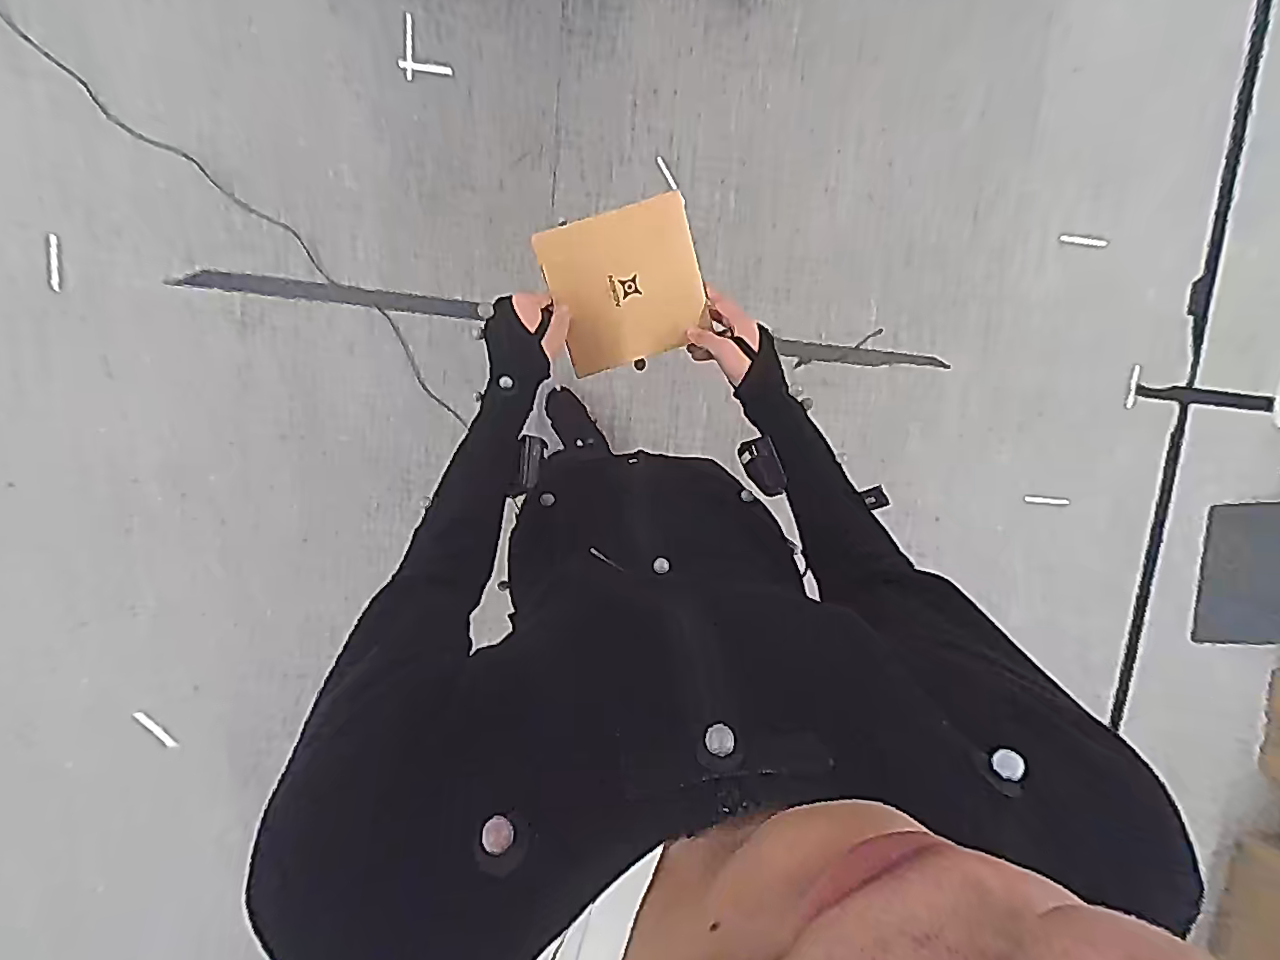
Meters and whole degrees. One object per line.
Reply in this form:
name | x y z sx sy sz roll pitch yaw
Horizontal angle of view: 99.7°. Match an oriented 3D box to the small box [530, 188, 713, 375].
small box | -0.023 -0.248 0.692 0.179 0.176 0.168 -17 109 2
